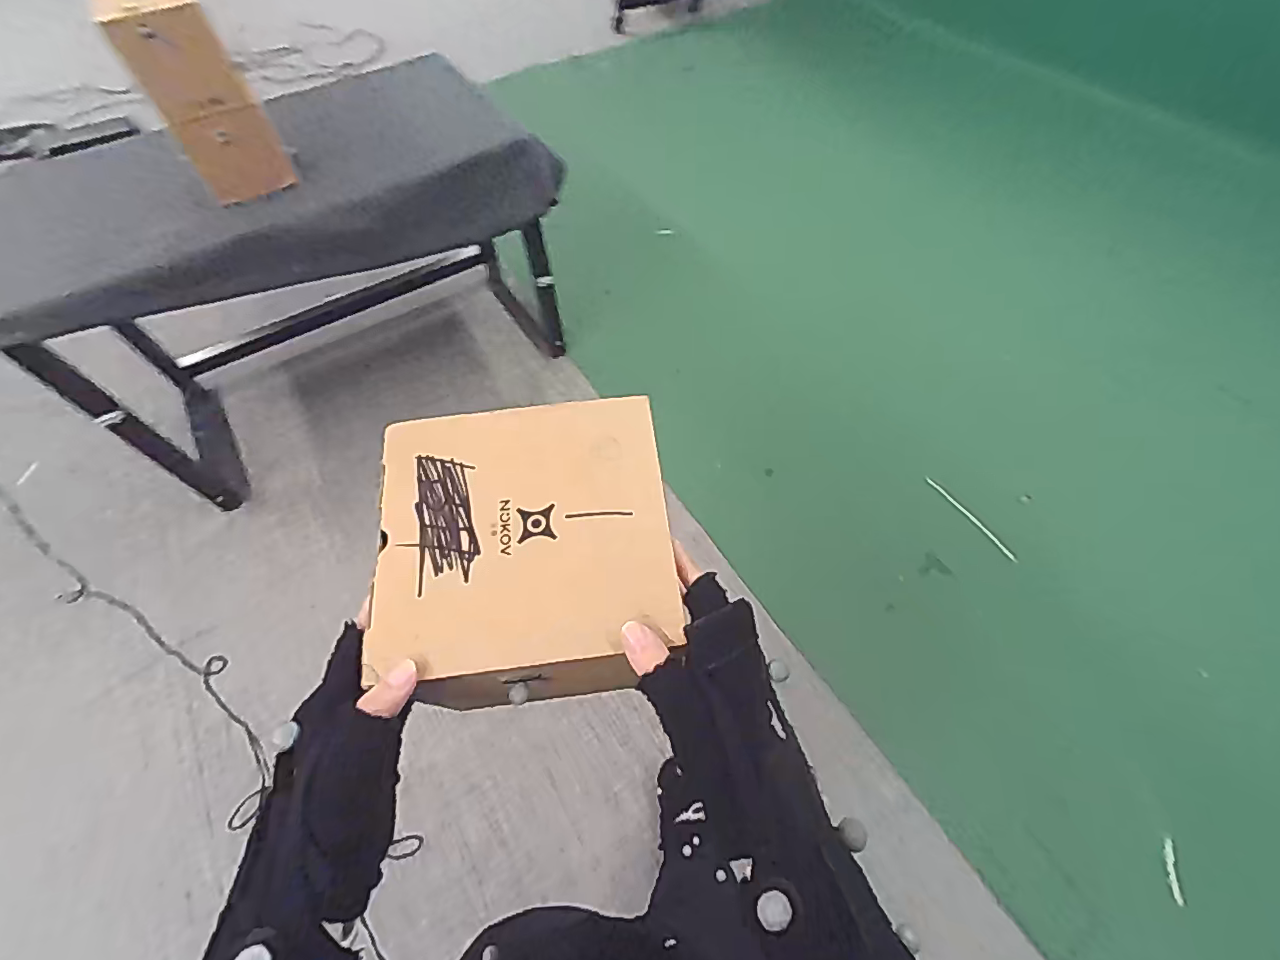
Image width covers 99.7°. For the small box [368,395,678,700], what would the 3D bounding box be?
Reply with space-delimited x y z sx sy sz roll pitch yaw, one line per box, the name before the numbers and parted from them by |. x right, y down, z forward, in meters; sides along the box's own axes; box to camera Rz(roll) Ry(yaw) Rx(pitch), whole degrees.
small box | -0.071 0.060 0.404 0.179 0.176 0.168 -7 63 -3

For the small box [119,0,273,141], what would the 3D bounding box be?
small box | -0.876 -0.813 1.078 0.168 0.176 0.179 -28 61 -17

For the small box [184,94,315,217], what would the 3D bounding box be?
small box | -0.872 -0.722 1.211 0.179 0.176 0.168 -27 60 -16
